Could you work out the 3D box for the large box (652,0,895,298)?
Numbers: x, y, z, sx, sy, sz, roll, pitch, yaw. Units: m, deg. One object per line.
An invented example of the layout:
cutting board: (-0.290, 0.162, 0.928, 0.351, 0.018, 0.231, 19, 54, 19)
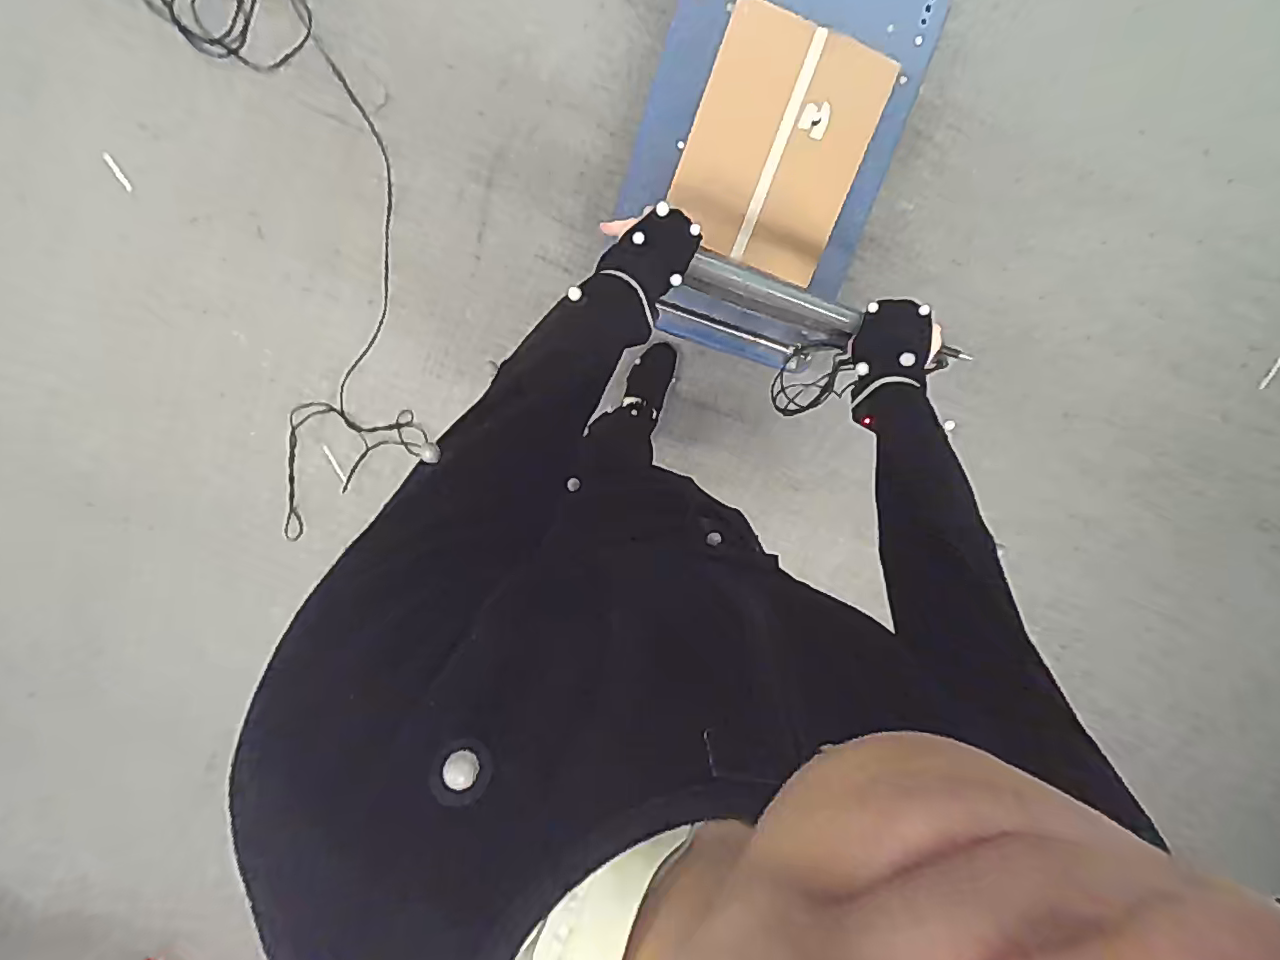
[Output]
large box: (0.236, -0.634, 1.115, 0.320, 0.320, 0.408, 20, 102, -7)
